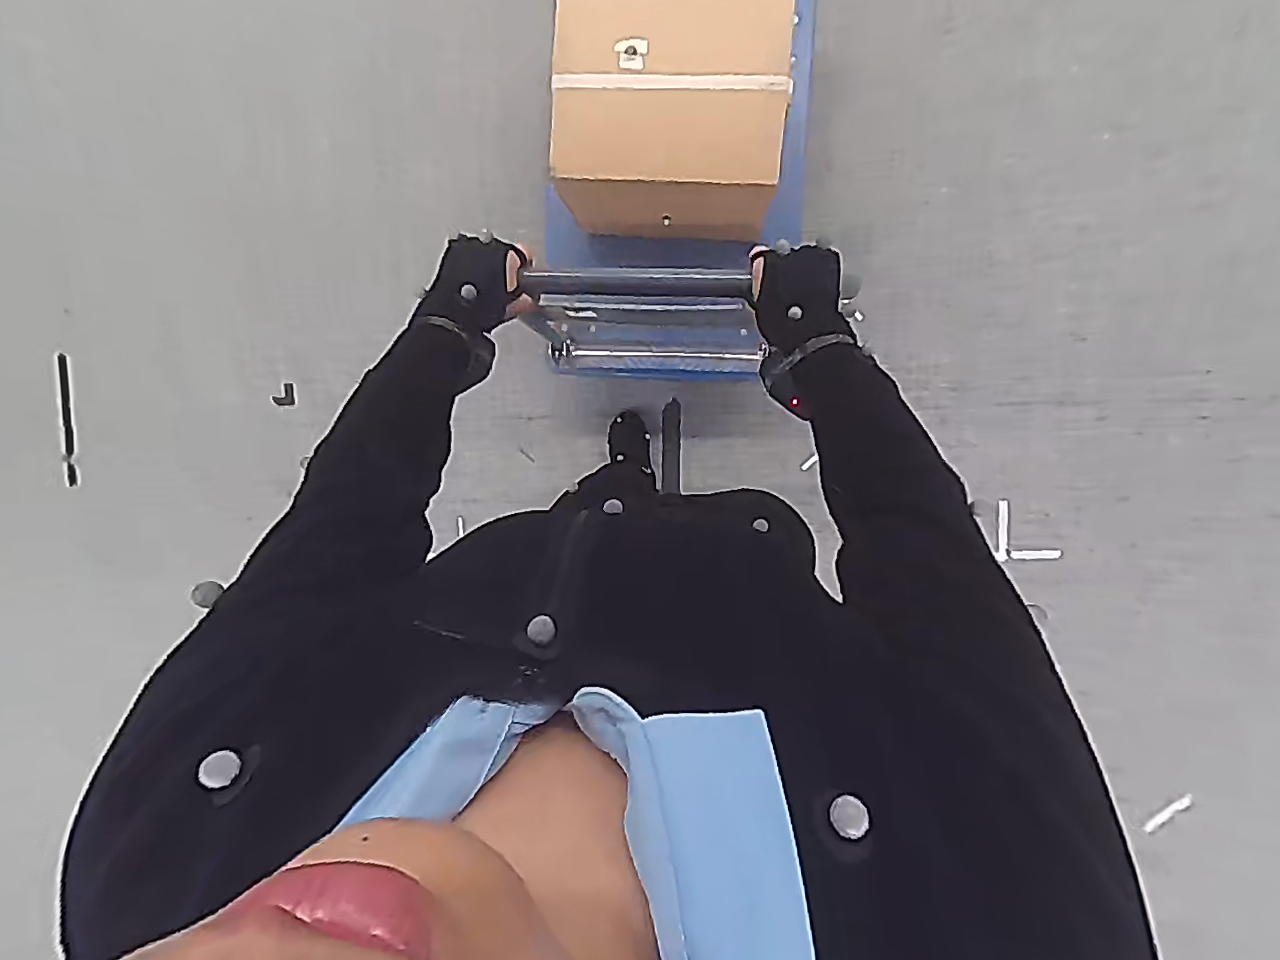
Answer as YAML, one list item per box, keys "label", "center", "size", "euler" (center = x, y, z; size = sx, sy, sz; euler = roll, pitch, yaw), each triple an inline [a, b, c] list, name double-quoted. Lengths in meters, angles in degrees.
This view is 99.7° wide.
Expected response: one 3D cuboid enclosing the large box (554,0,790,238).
- label: "large box"
  center: [0.067, -0.697, 1.087]
  size: [0.408, 0.320, 0.320]
  euler: [5, 96, 6]
